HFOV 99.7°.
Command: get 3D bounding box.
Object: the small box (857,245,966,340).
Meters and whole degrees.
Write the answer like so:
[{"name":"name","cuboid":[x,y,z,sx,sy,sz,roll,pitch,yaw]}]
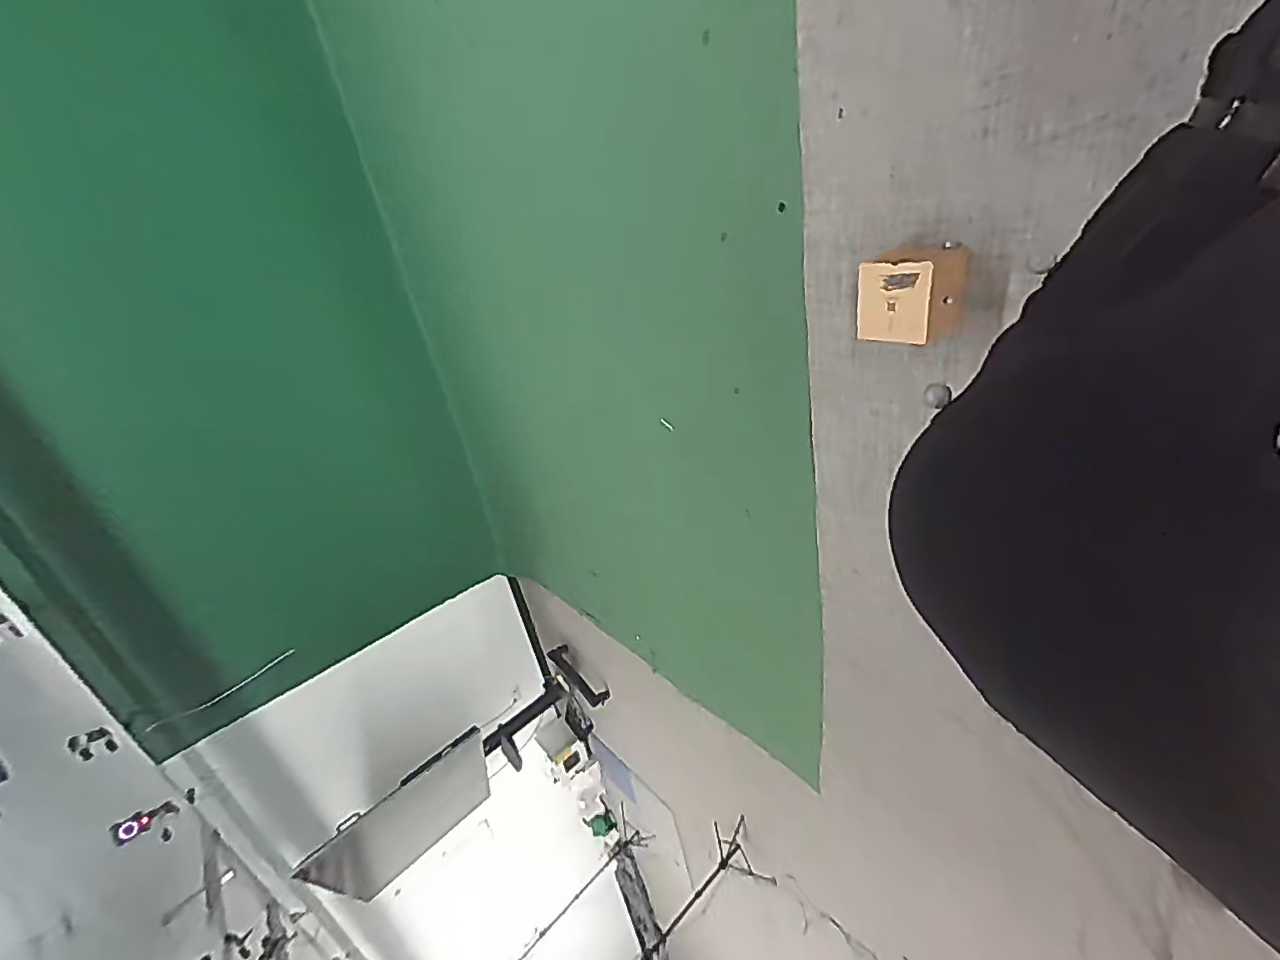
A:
[{"name":"small box","cuboid":[0.623,-0.437,1.243,0.168,0.176,0.179,23,133,45]}]
